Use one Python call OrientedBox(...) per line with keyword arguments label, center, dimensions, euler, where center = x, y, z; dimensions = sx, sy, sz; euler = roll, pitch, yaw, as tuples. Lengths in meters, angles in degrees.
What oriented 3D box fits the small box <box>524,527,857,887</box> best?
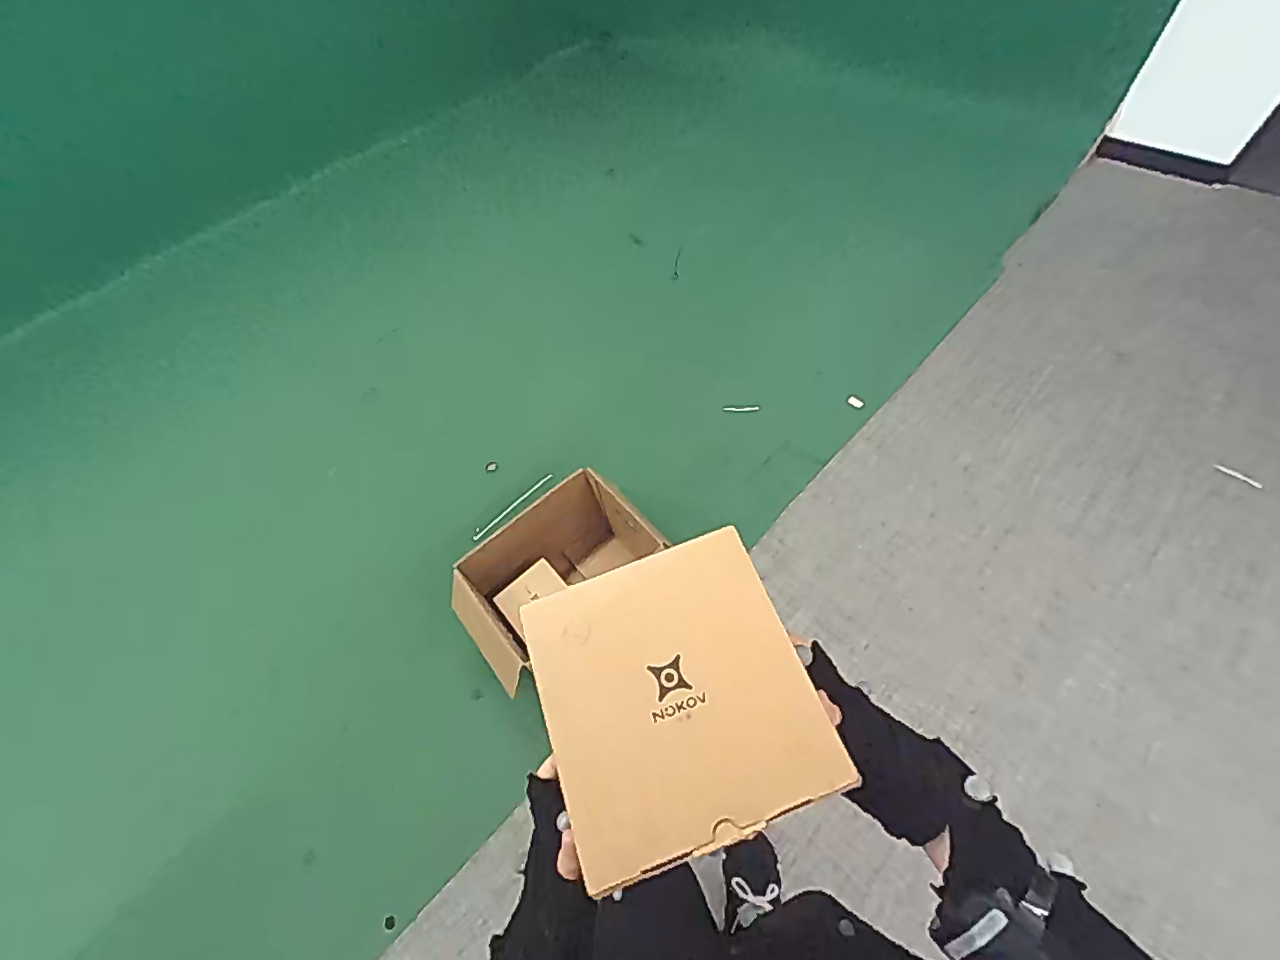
OrientedBox(label="small box", center=(0.027, 0.167, 0.412), dimensions=(0.168, 0.176, 0.179), euler=(-20, 61, -5))
